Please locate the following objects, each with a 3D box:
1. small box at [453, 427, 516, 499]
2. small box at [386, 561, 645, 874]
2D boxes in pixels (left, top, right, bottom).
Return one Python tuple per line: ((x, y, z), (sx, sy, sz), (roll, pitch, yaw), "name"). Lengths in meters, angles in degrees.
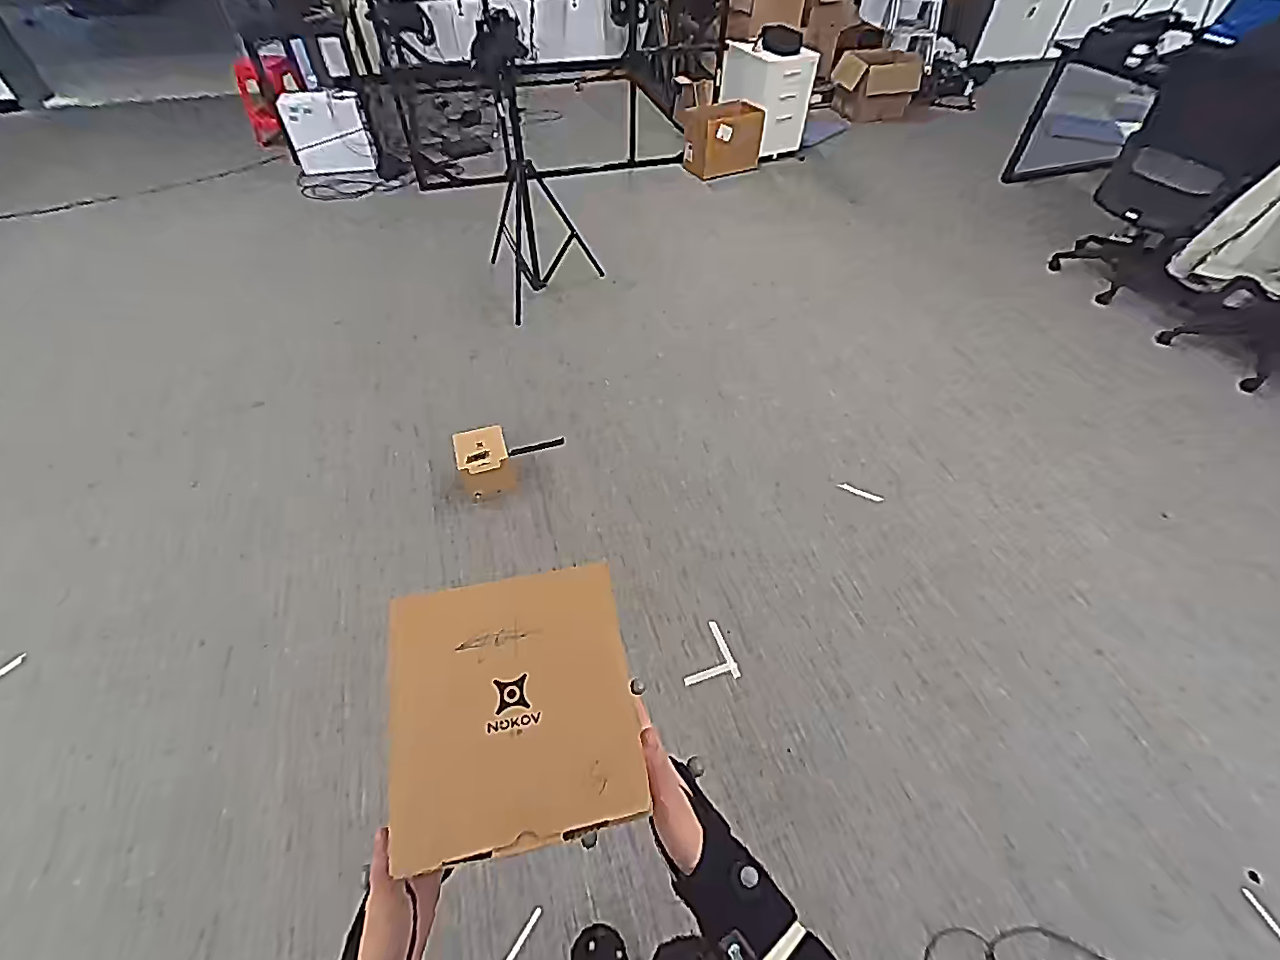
((-0.535, -0.052, 1.874), (0.168, 0.176, 0.179), (-15, 52, -13), "small box")
((-0.097, 0.189, 0.447), (0.168, 0.176, 0.179), (-9, 62, -10), "small box")
